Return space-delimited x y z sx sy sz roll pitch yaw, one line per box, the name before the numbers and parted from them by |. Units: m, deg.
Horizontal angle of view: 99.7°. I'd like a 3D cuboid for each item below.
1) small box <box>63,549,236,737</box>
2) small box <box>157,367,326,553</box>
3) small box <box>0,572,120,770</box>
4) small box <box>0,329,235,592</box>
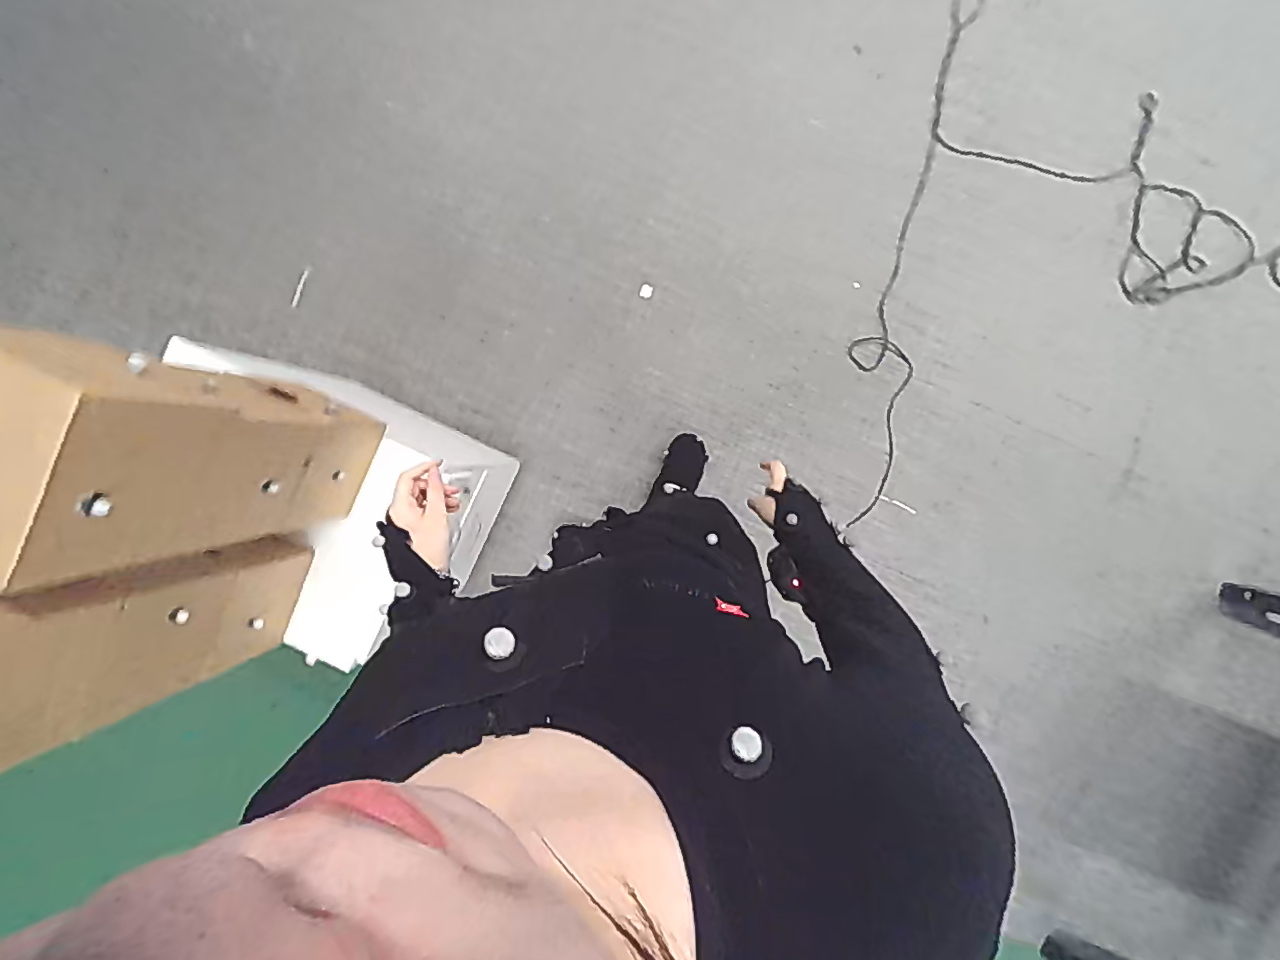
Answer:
small box | -0.665 0.180 0.685 0.168 0.176 0.179 19 92 1
small box | -0.536 -0.033 0.669 0.179 0.176 0.168 25 94 0
small box | -0.672 0.184 0.522 0.168 0.176 0.179 20 91 1
small box | -0.533 -0.025 0.505 0.168 0.176 0.179 24 94 -1
